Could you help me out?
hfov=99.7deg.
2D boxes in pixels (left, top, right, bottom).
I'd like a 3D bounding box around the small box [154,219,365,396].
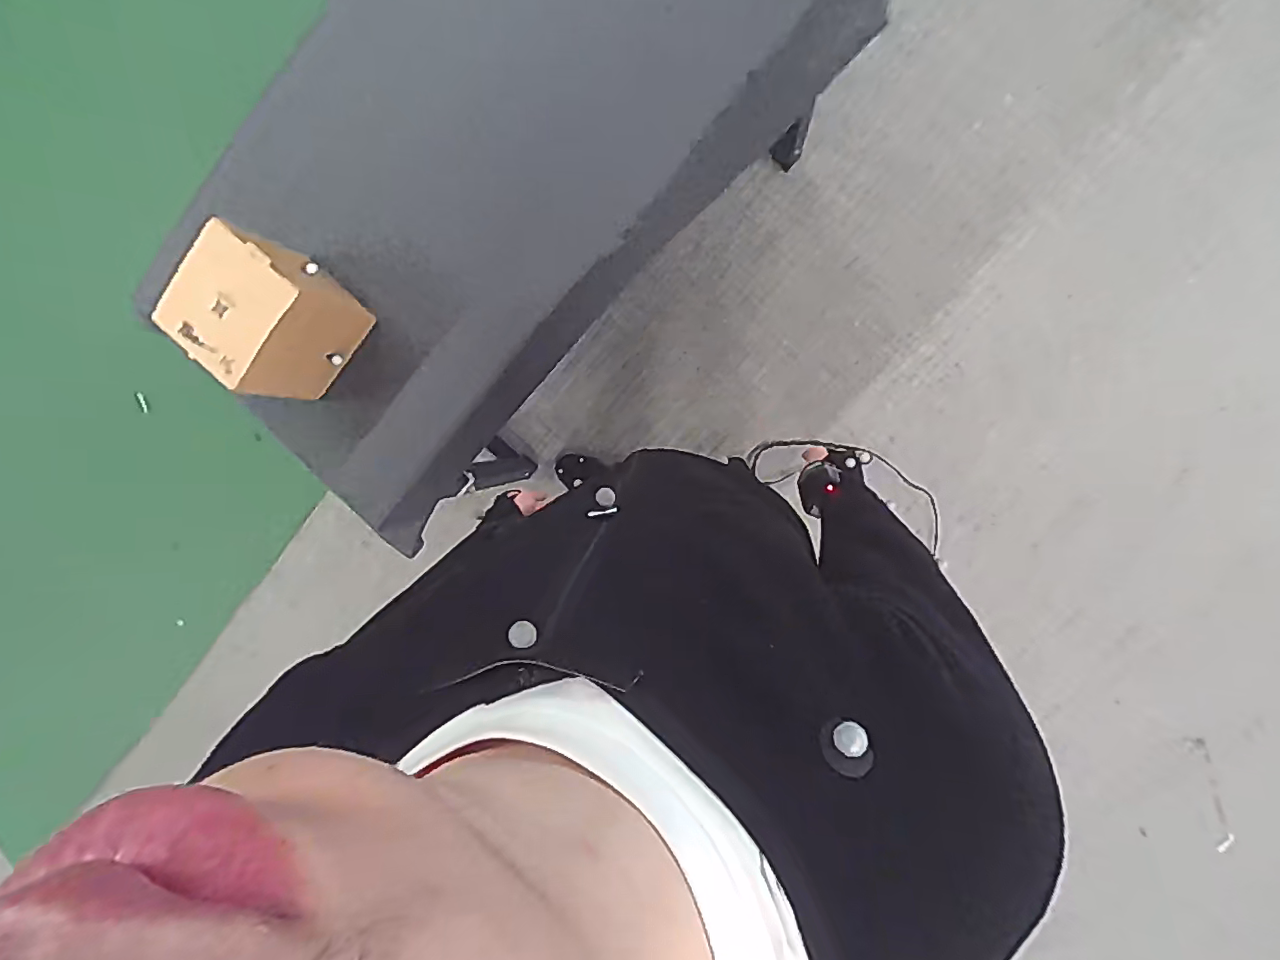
[{"bbox_3d":[-0.559,-0.247,0.824,0.168,0.176,0.179,41,98,3],"label":"small box"}]
